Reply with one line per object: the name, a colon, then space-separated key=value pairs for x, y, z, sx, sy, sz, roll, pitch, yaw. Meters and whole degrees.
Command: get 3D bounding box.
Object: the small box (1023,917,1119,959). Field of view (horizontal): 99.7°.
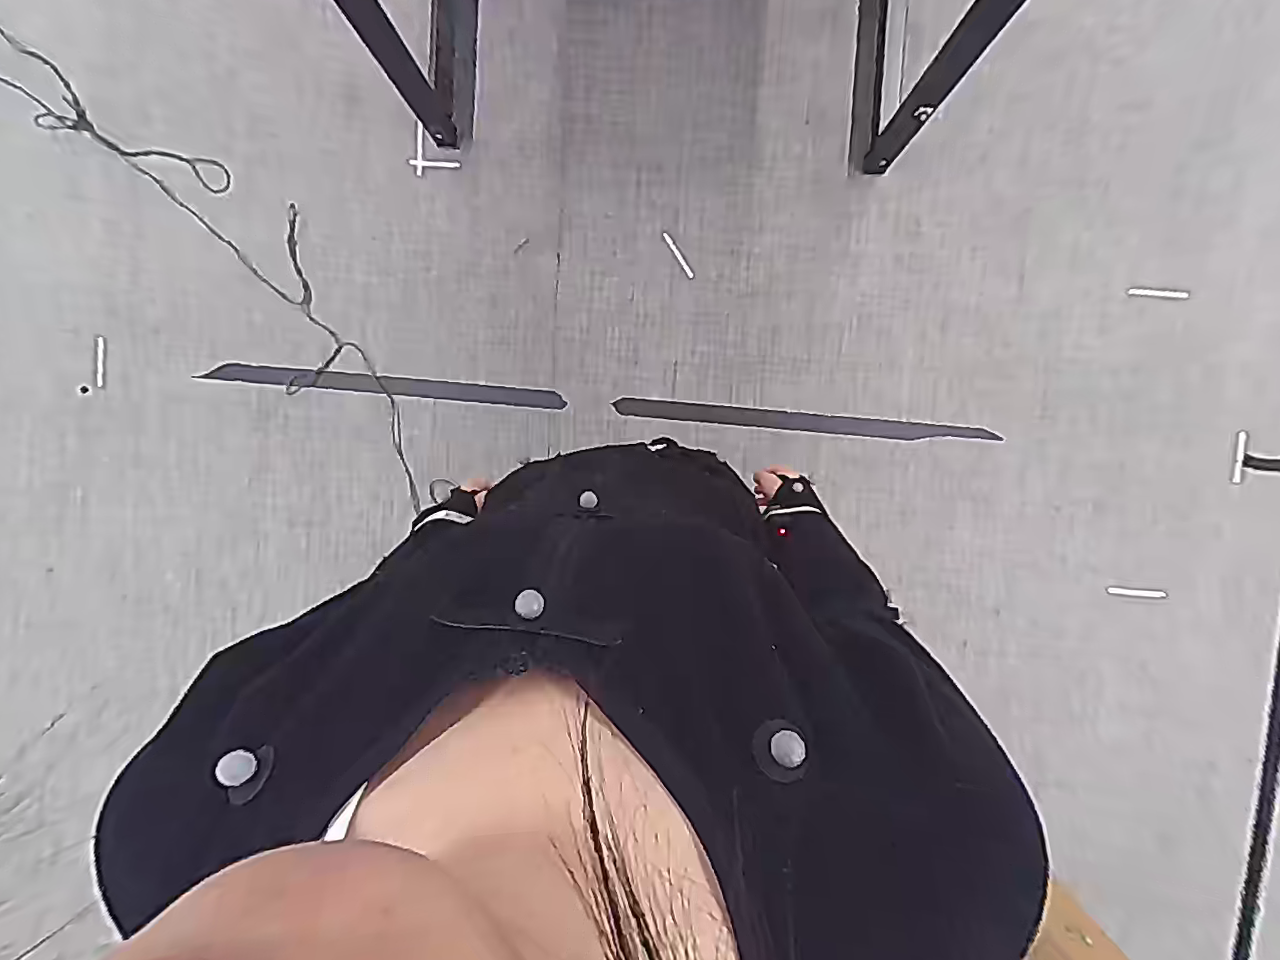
small box: x=1.063 y=1.216 z=1.303 sx=0.168 sy=0.176 sz=0.179 roll=8 pitch=93 yaw=0
